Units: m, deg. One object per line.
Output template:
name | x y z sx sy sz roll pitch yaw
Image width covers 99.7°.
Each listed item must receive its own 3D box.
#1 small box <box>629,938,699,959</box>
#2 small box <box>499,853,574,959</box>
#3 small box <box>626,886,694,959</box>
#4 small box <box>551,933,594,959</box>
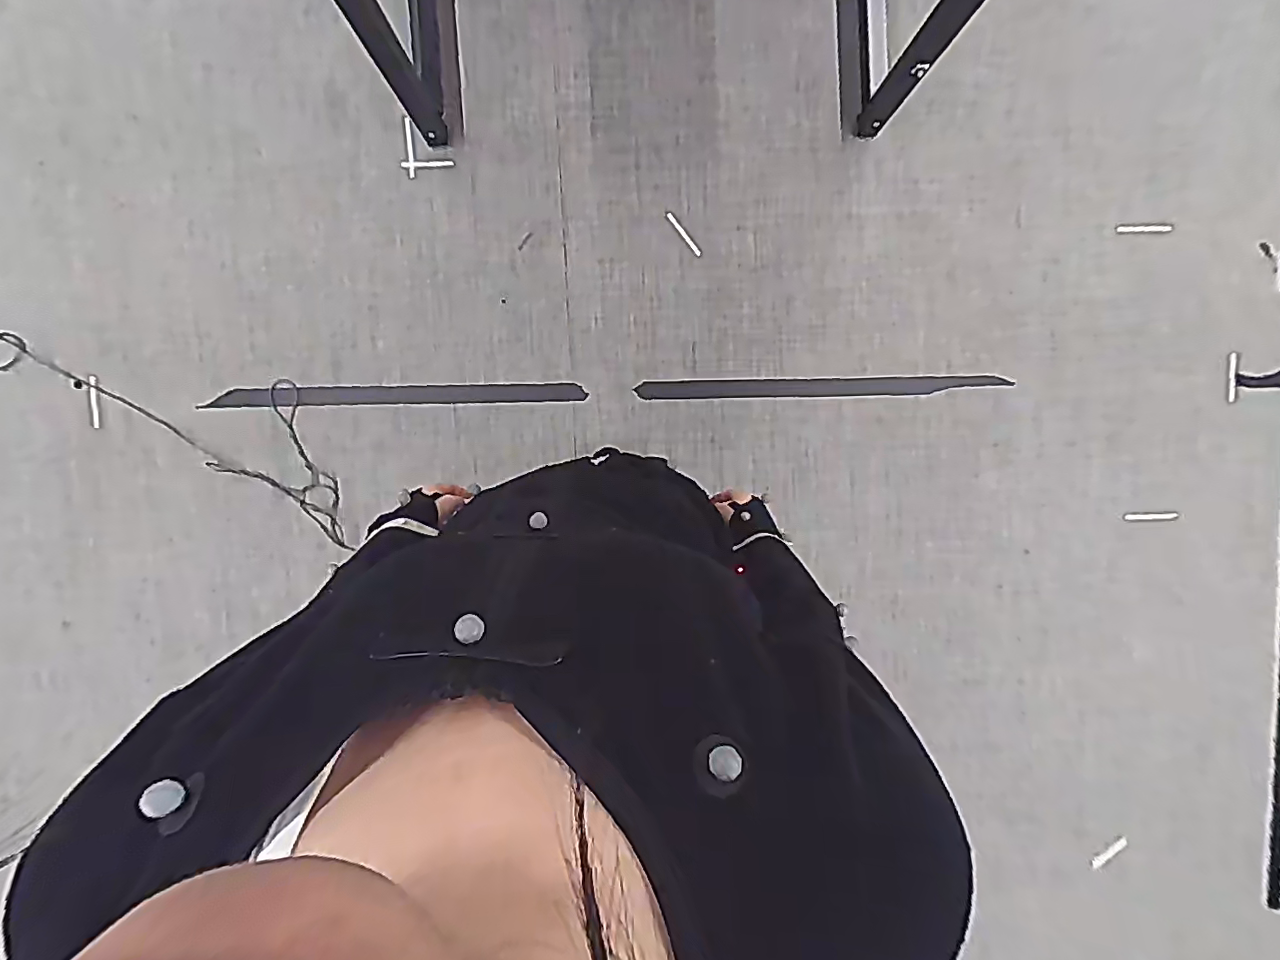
small box | 0.059 1.272 1.323 0.179 0.176 0.168 1 94 -3
small box | -0.276 1.151 1.467 0.168 0.176 0.179 -8 94 -2
small box | 0.050 1.259 1.487 0.179 0.176 0.168 0 94 -3
small box | -0.219 1.405 1.488 0.179 0.176 0.168 -8 95 -2
